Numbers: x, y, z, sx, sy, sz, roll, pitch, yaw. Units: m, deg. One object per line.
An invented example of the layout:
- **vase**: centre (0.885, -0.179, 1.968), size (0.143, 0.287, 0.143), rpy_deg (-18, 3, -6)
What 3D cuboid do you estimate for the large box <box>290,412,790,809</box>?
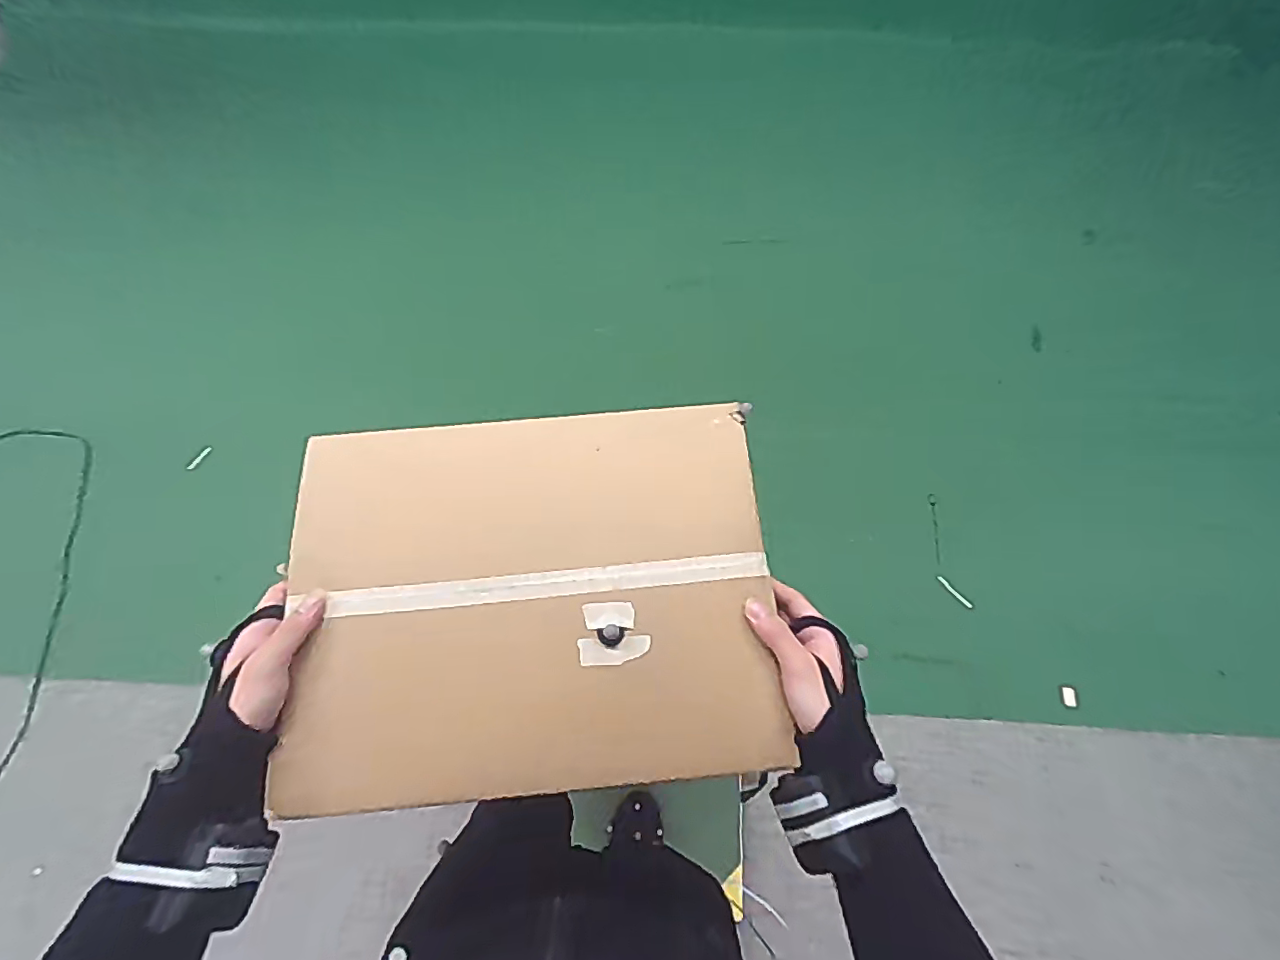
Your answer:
- **large box**: centre (-0.092, 0.145, 0.615), size (0.408, 0.320, 0.320), rpy_deg (-5, 70, -2)
